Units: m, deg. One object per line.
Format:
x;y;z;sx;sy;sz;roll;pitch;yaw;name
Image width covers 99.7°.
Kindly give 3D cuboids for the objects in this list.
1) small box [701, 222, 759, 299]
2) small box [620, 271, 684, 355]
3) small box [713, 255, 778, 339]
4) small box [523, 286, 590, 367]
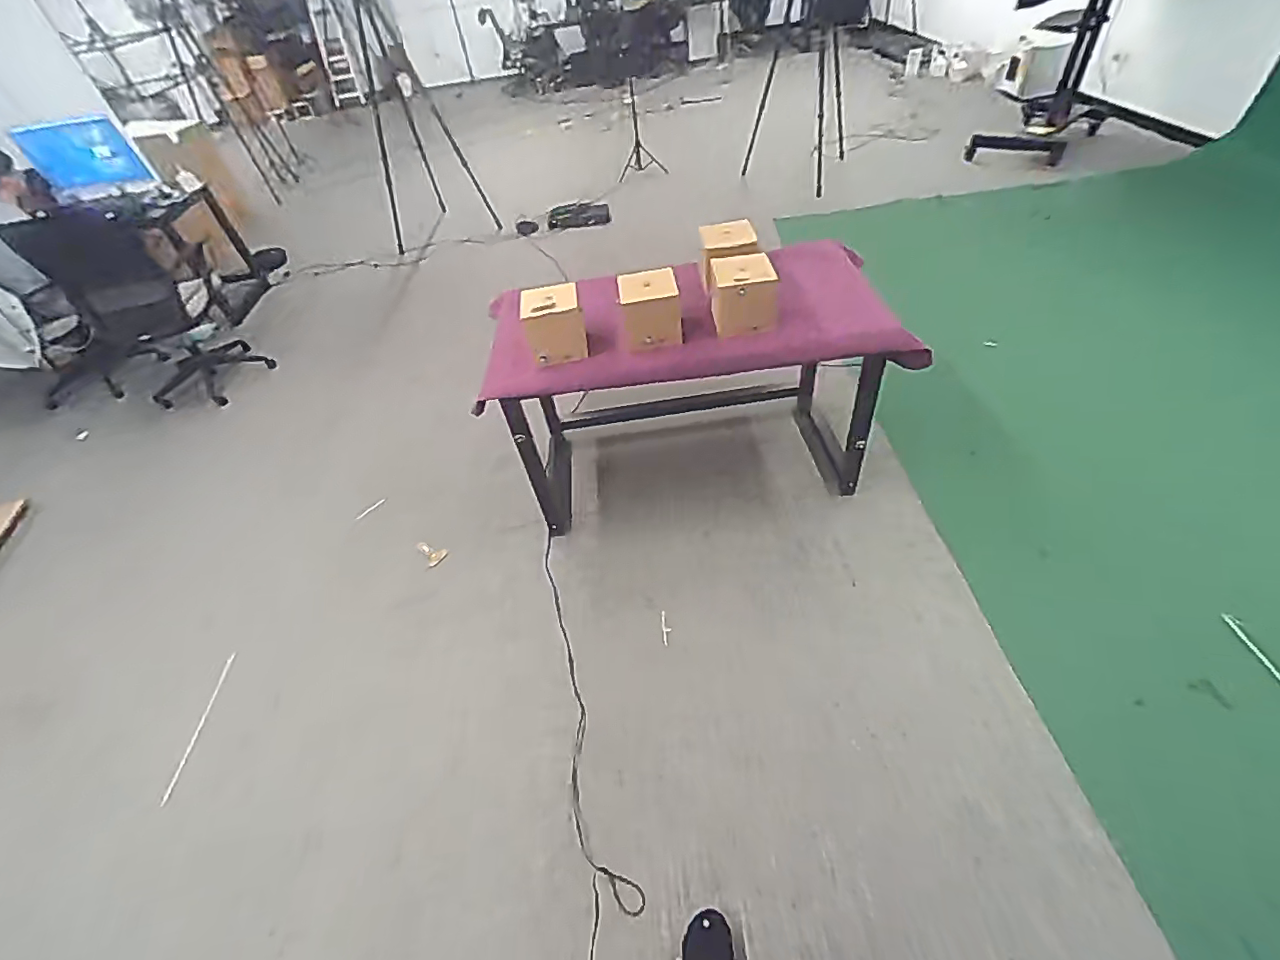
0.293;-0.719;1.777;0.168;0.176;0.179;-8;47;4;small box
0.036;-0.498;1.619;0.168;0.176;0.179;-9;46;4;small box
0.309;-0.541;1.605;0.168;0.176;0.179;-7;45;5;small box
-0.247;-0.453;1.624;0.168;0.176;0.179;-10;44;0;small box
